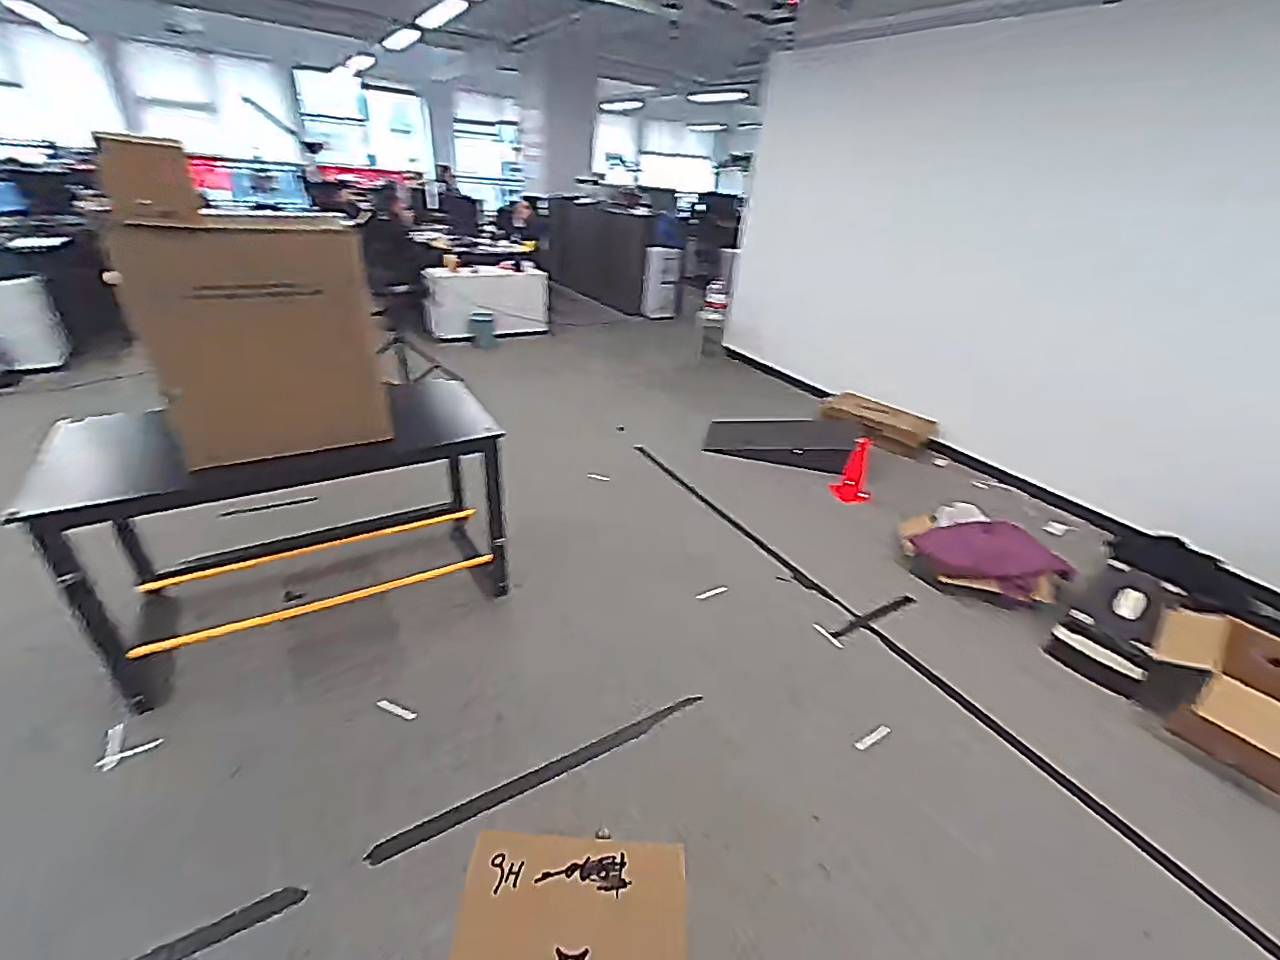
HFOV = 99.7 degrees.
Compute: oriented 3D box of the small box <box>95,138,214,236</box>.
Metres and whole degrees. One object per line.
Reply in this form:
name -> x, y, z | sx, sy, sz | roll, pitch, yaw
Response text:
small box -> -1.107, -0.670, 1.243 | 0.168, 0.176, 0.179 | -15, 39, -34
